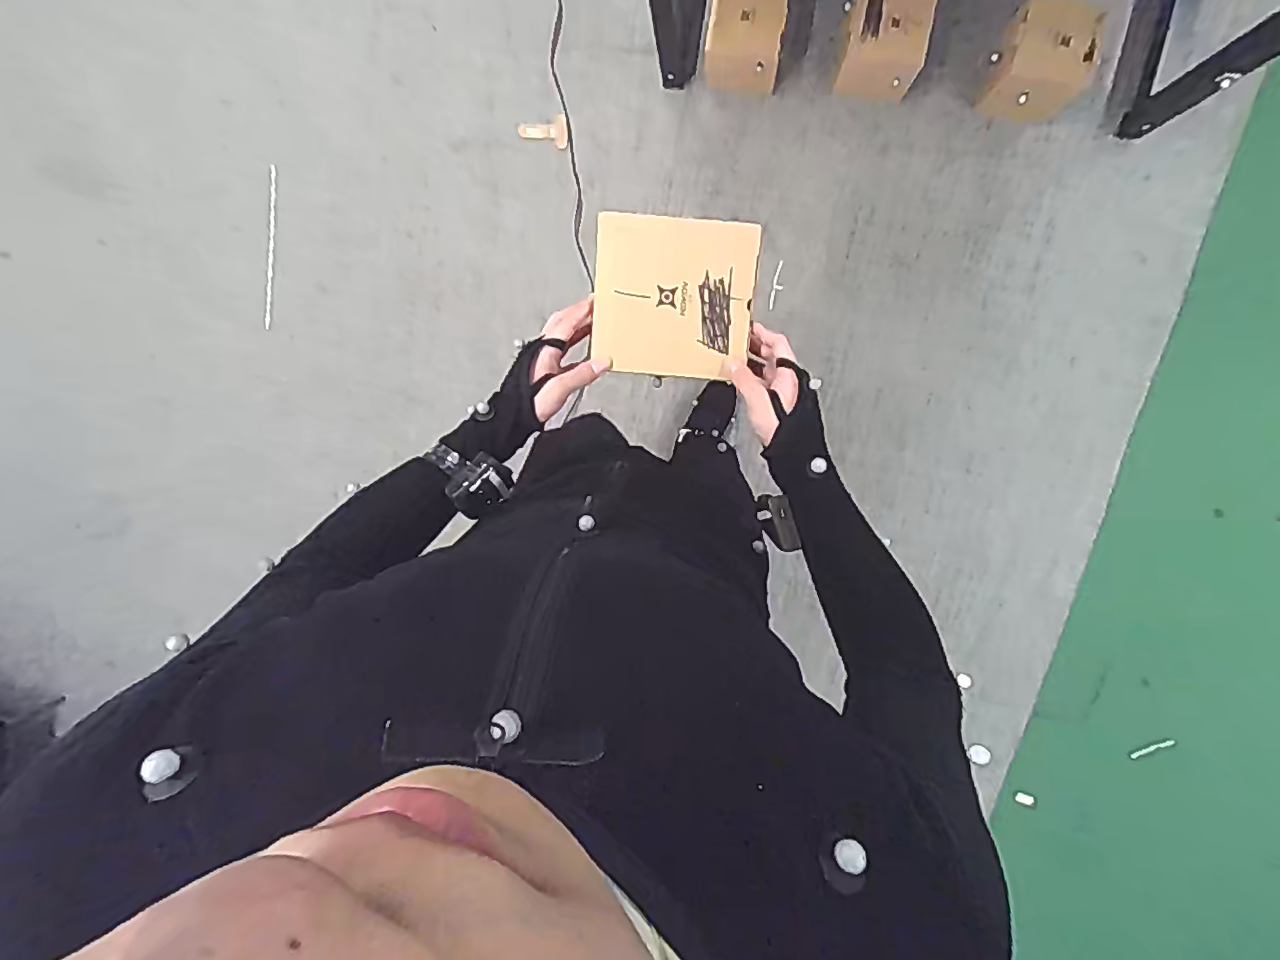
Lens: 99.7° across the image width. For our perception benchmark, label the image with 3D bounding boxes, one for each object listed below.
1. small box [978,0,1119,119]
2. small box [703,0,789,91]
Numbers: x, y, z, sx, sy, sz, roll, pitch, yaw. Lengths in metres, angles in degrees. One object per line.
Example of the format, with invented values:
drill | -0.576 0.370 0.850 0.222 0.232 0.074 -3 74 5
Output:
small box | 0.919 -0.964 1.239 0.179 0.176 0.168 14 102 6
small box | 0.257 -1.083 1.314 0.179 0.176 0.168 11 101 6
